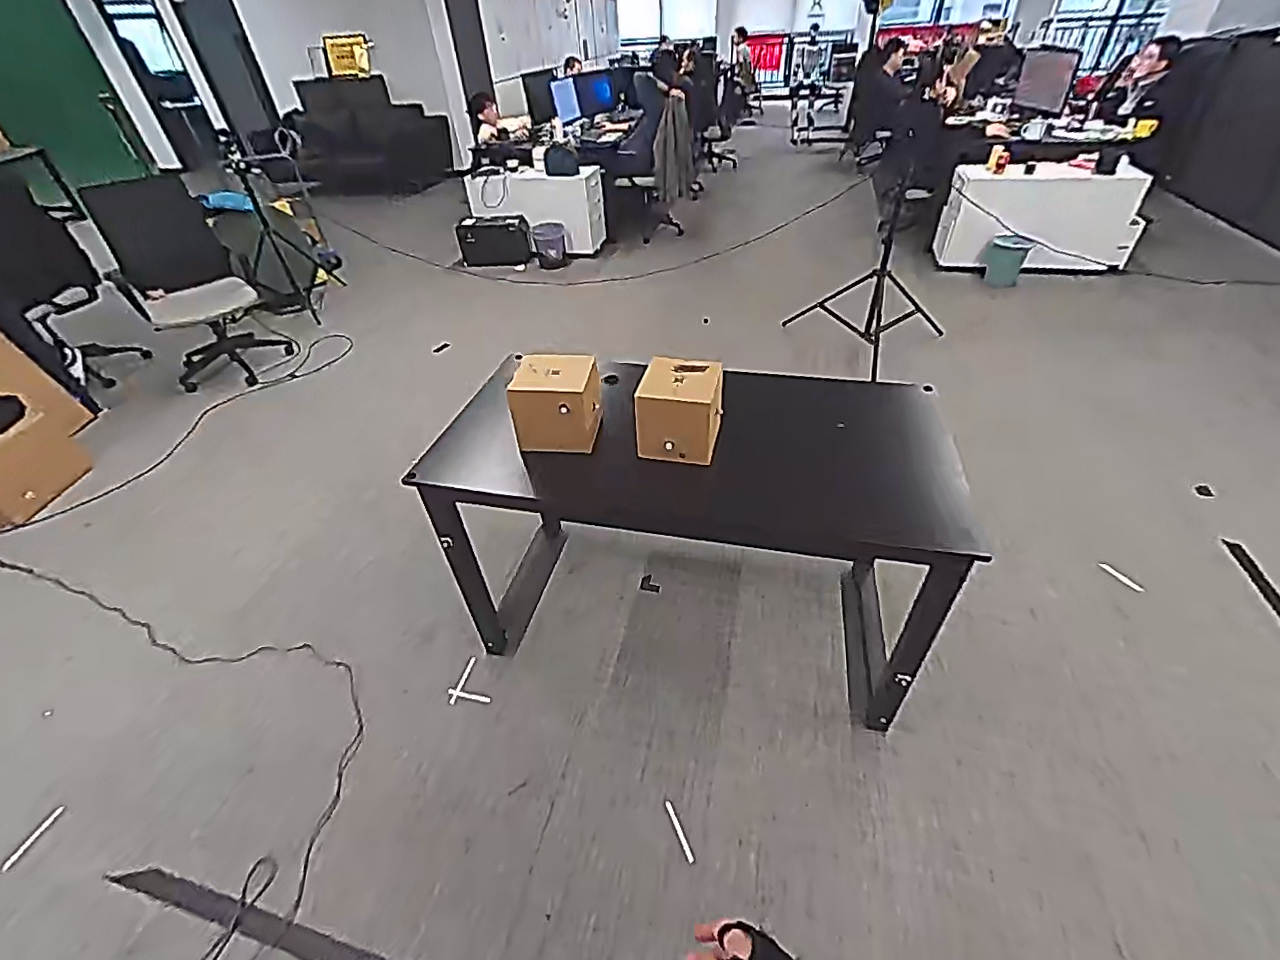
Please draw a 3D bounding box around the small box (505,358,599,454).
[{"bbox_3d":[-0.198,-0.175,1.283,0.179,0.176,0.168,2,40,7],"label":"small box"}]

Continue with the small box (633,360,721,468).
[{"bbox_3d":[0.087,-0.153,1.237,0.168,0.176,0.179,7,42,13],"label":"small box"}]
